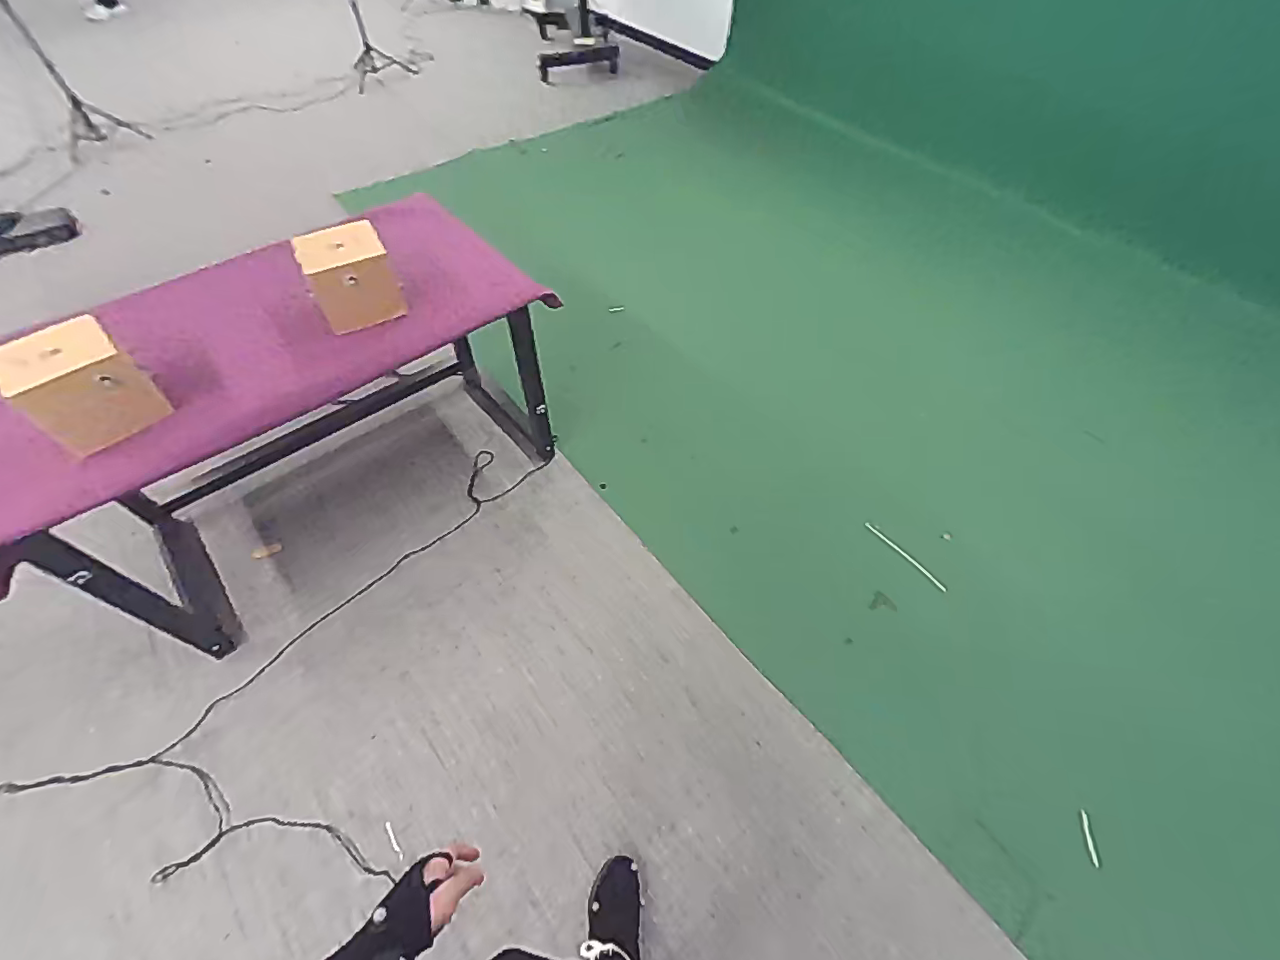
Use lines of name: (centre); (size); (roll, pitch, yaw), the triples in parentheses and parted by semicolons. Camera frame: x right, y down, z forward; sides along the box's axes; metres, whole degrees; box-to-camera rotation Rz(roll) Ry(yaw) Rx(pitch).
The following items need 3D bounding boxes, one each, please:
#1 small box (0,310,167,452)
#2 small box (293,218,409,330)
small box: (-1.080, -0.191, 1.055); (0.168, 0.176, 0.179); (39, 63, 24)
small box: (-0.675, -0.482, 1.275); (0.179, 0.176, 0.168); (-24, 59, -18)
